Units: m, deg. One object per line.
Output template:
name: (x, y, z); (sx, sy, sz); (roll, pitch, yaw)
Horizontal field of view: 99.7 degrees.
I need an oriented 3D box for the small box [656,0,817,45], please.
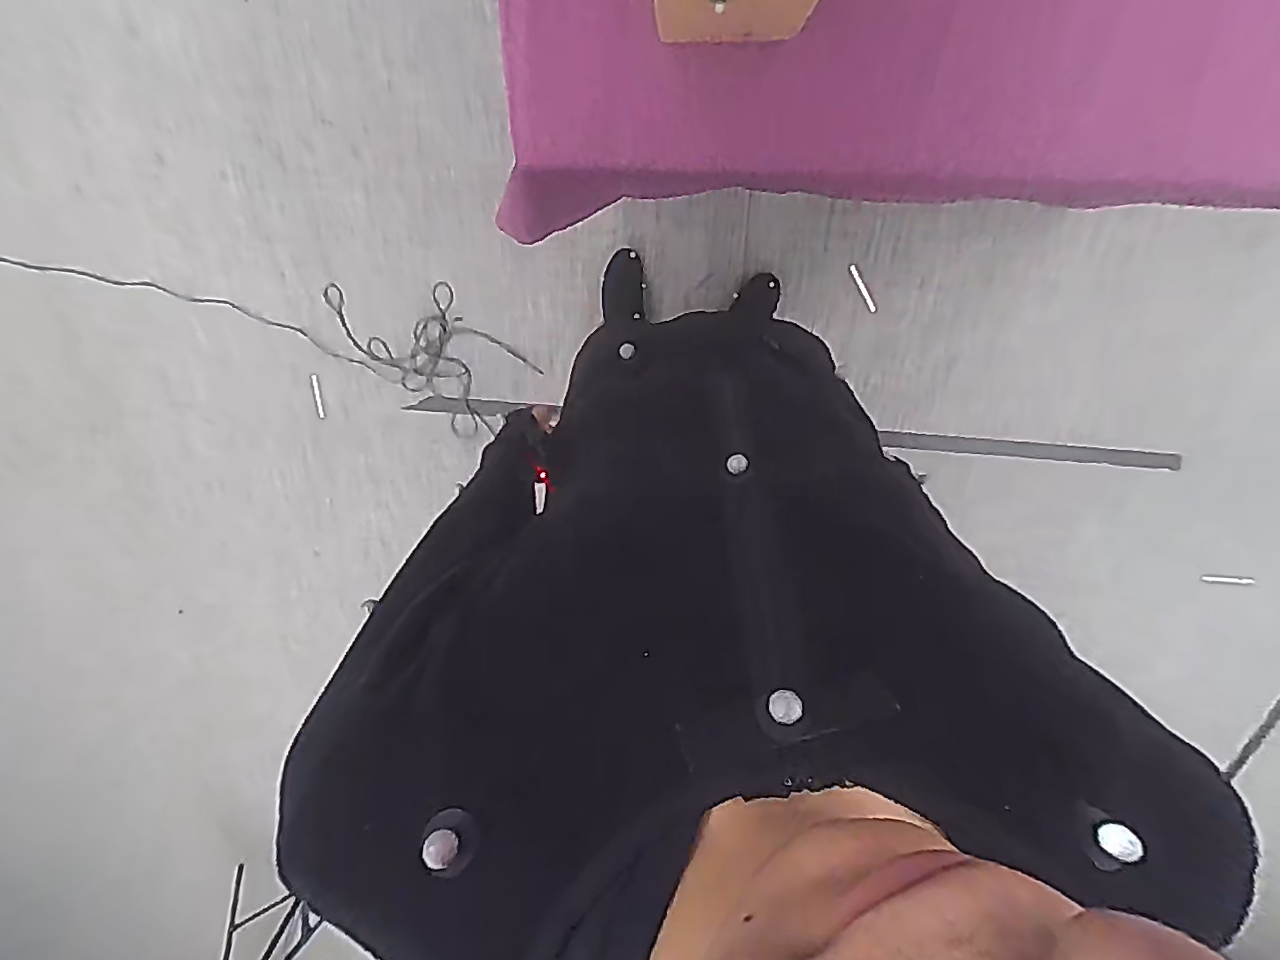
small box: (0.100, -0.576, 0.547); (0.168, 0.176, 0.179); (2, 115, 4)
